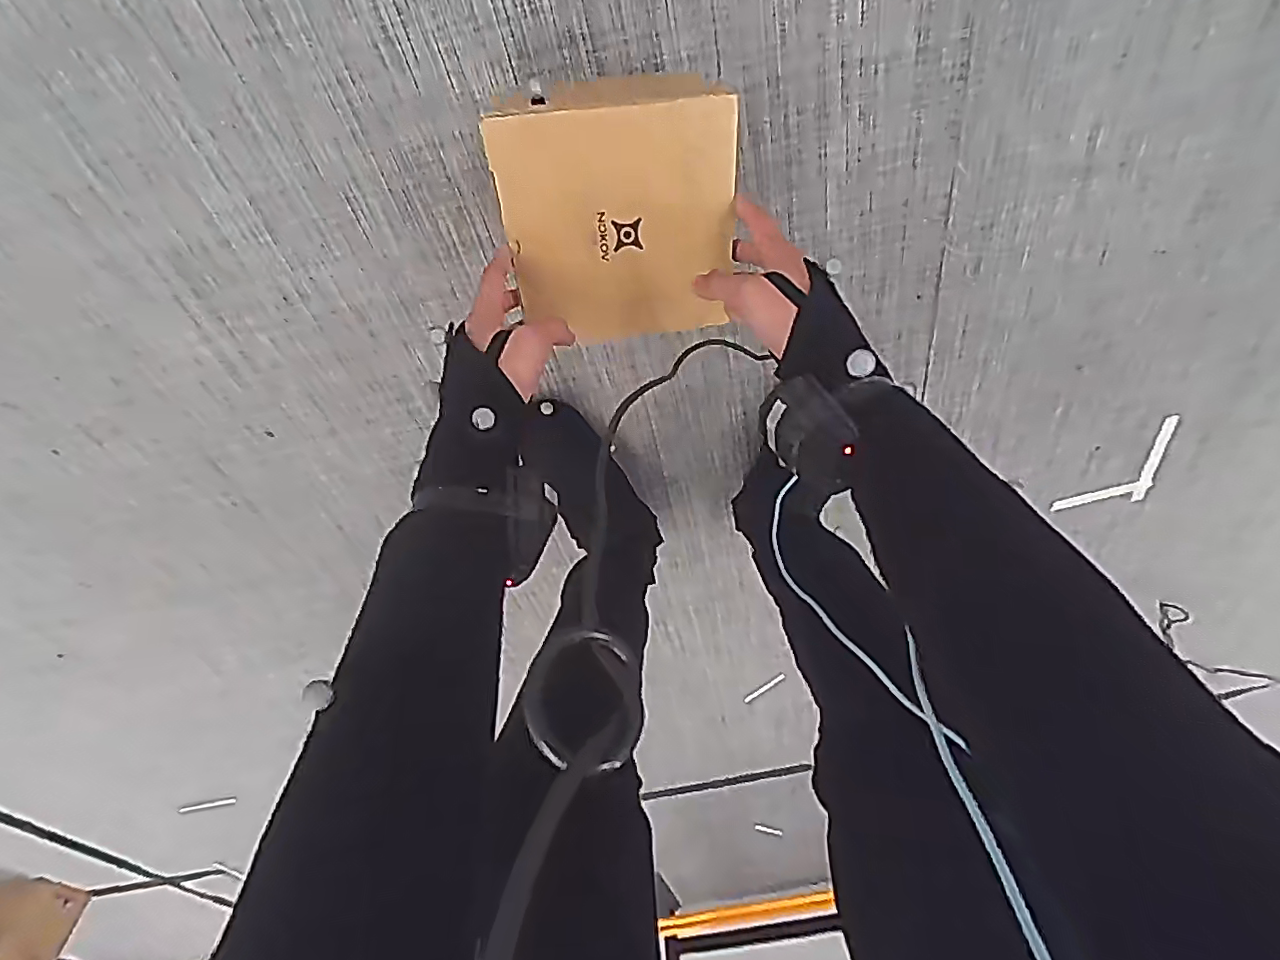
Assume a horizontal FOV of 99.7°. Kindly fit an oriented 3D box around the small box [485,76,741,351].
[{"bbox_3d":[-0.024,-0.234,0.468,0.179,0.176,0.168,-8,132,-2],"label":"small box"}]
